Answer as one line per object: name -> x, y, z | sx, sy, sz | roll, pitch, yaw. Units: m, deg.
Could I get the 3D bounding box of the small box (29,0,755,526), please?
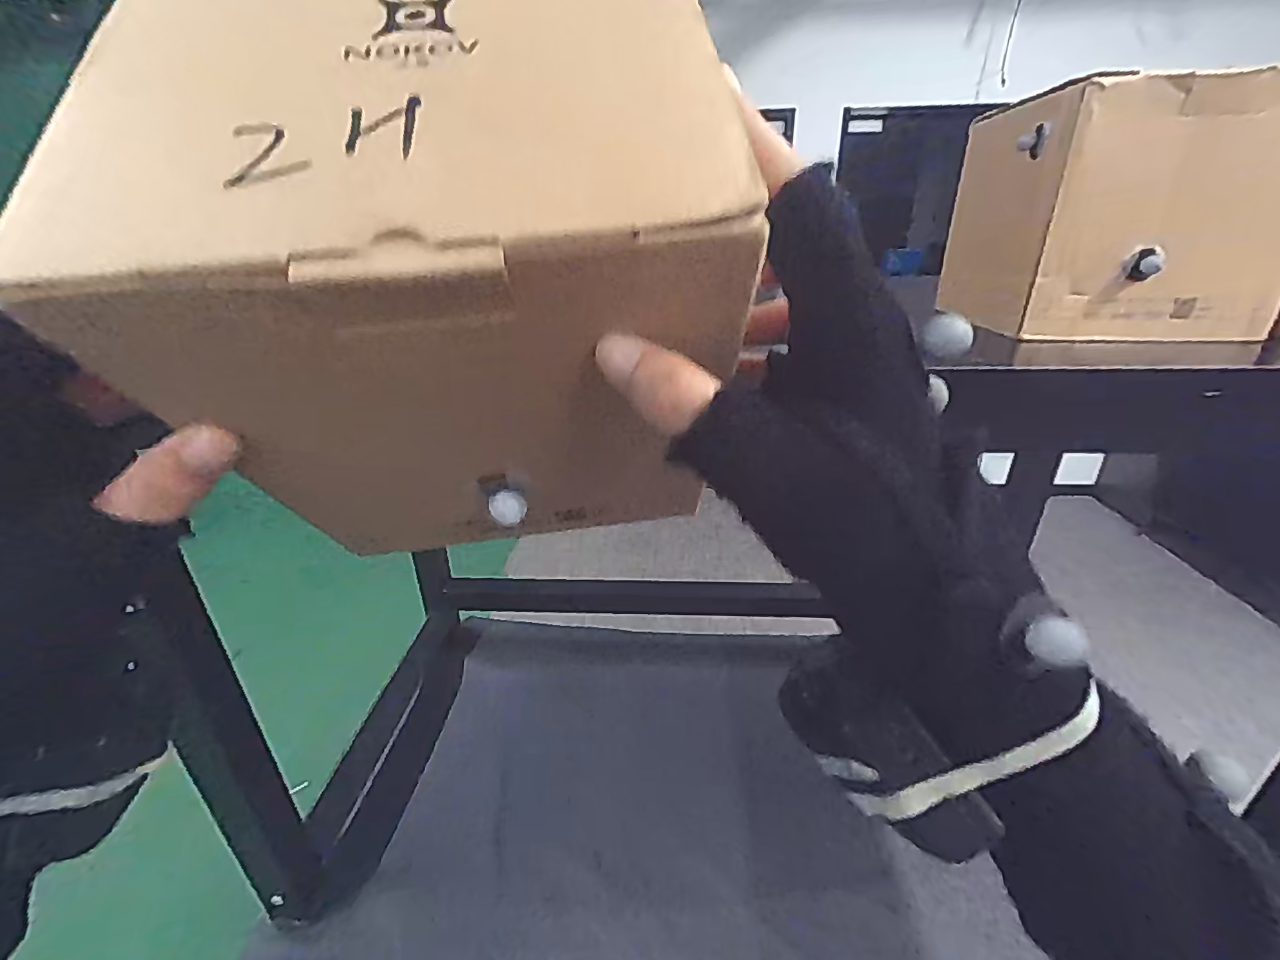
small box -> -0.064, -0.098, 0.232 | 0.168, 0.176, 0.179 | -7, 63, -3

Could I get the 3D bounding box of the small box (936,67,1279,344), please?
small box -> 0.370, -0.214, 0.444 | 0.168, 0.176, 0.179 | 2, 25, 7
